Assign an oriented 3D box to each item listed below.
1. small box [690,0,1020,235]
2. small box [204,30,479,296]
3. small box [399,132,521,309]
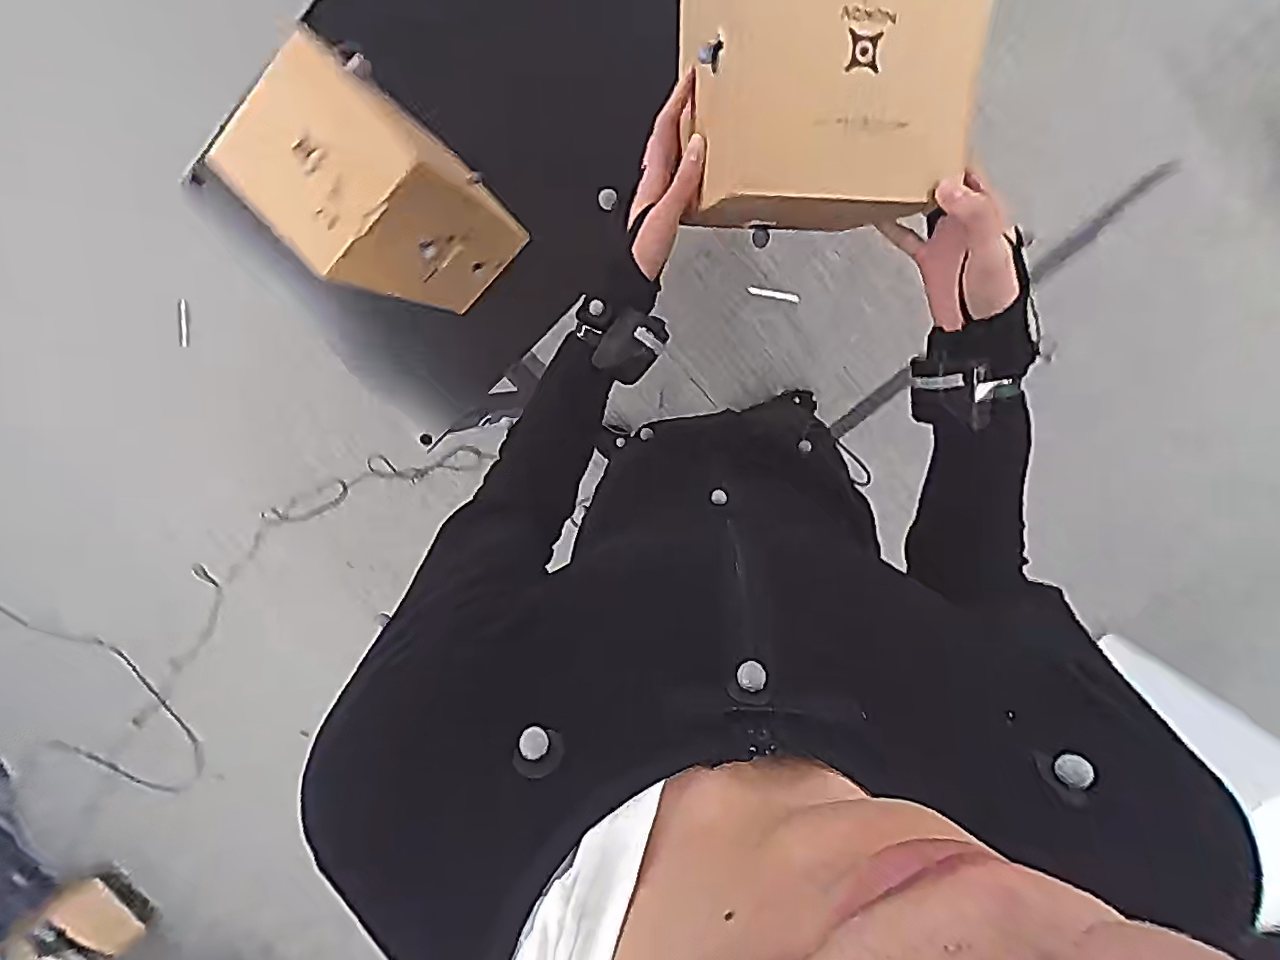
[{"bbox_3d":[0.137,-0.290,0.399,0.168,0.176,0.179,-1,109,-8],"label":"small box"},{"bbox_3d":[-0.325,-0.337,0.622,0.168,0.176,0.179,-43,93,13],"label":"small box"},{"bbox_3d":[-0.303,-0.367,0.783,0.168,0.176,0.179,-44,93,13],"label":"small box"}]
